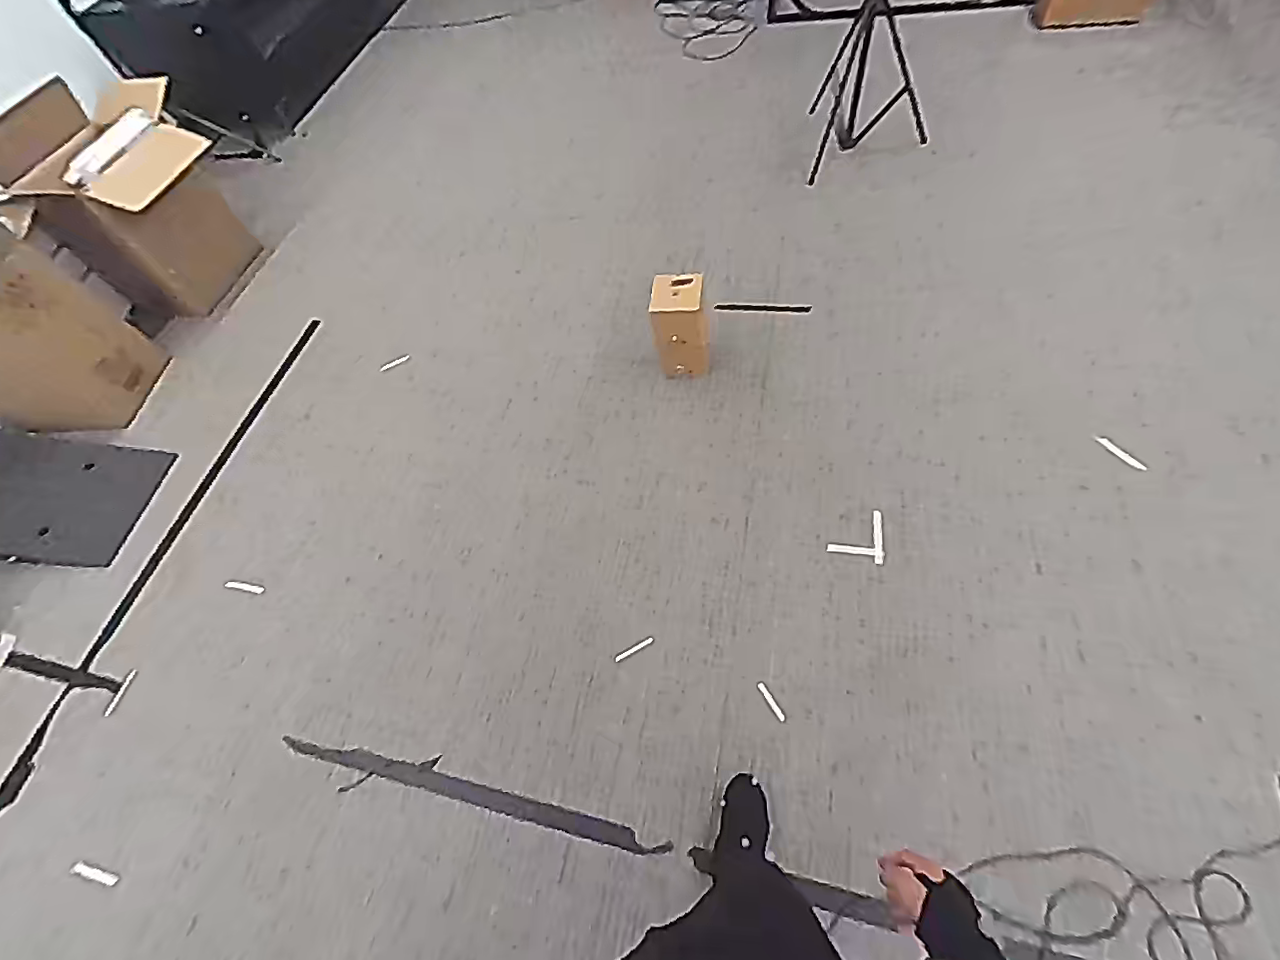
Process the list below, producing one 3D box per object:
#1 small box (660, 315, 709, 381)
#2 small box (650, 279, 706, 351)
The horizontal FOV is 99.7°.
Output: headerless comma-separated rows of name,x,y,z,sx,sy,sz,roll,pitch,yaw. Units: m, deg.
small box,0.168,-0.489,2.005,0.168,0.176,0.179,1,60,11
small box,0.136,-0.567,1.864,0.168,0.176,0.179,3,61,12
